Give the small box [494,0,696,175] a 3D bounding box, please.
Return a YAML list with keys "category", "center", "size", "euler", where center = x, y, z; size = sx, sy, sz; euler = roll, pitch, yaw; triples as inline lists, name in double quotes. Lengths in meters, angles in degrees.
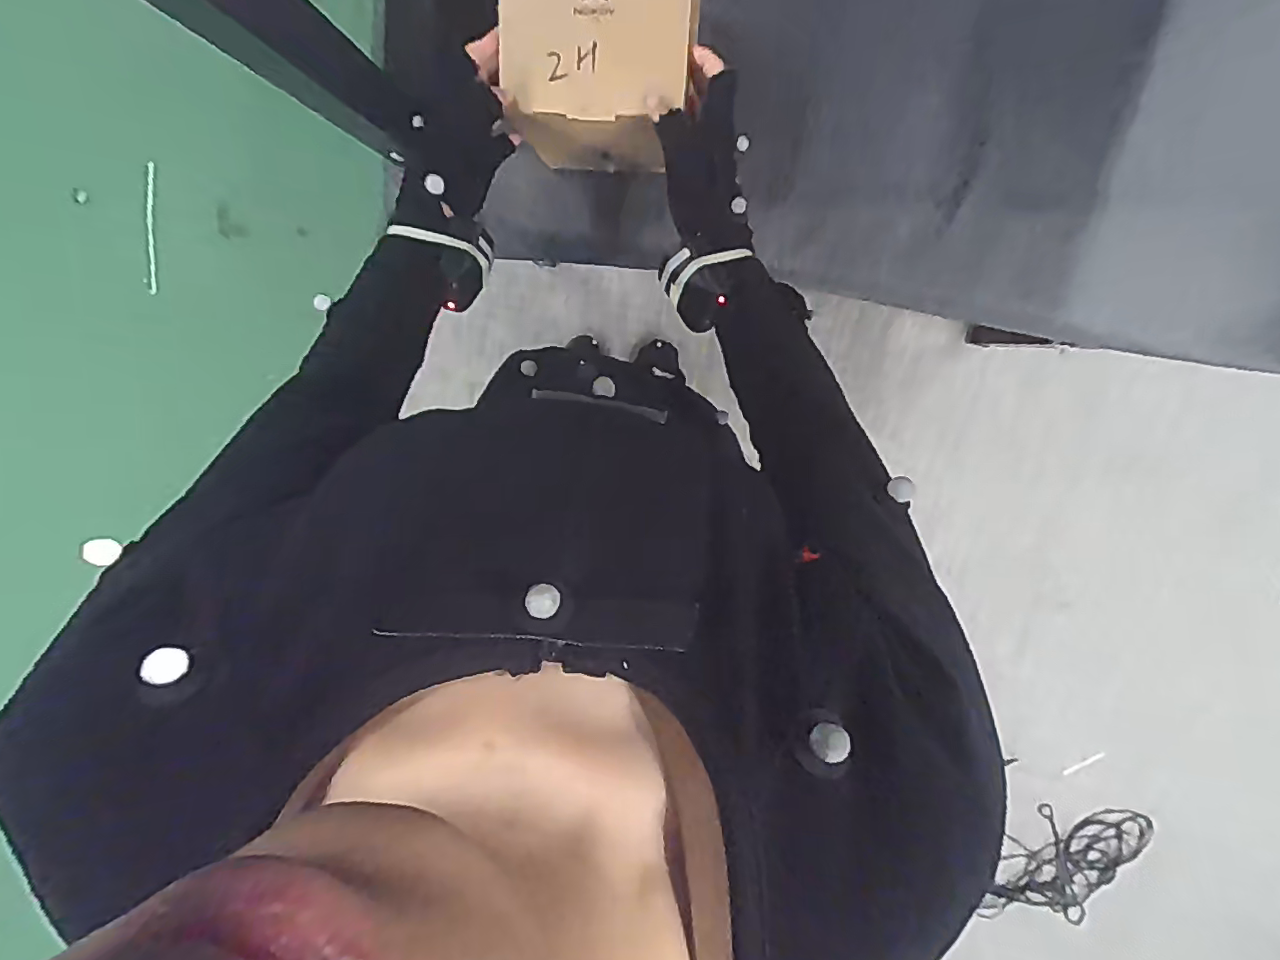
- category: "small box"
  center: [-0.034, -0.423, 0.527]
  size: [0.168, 0.176, 0.179]
  euler: [5, 105, 5]
